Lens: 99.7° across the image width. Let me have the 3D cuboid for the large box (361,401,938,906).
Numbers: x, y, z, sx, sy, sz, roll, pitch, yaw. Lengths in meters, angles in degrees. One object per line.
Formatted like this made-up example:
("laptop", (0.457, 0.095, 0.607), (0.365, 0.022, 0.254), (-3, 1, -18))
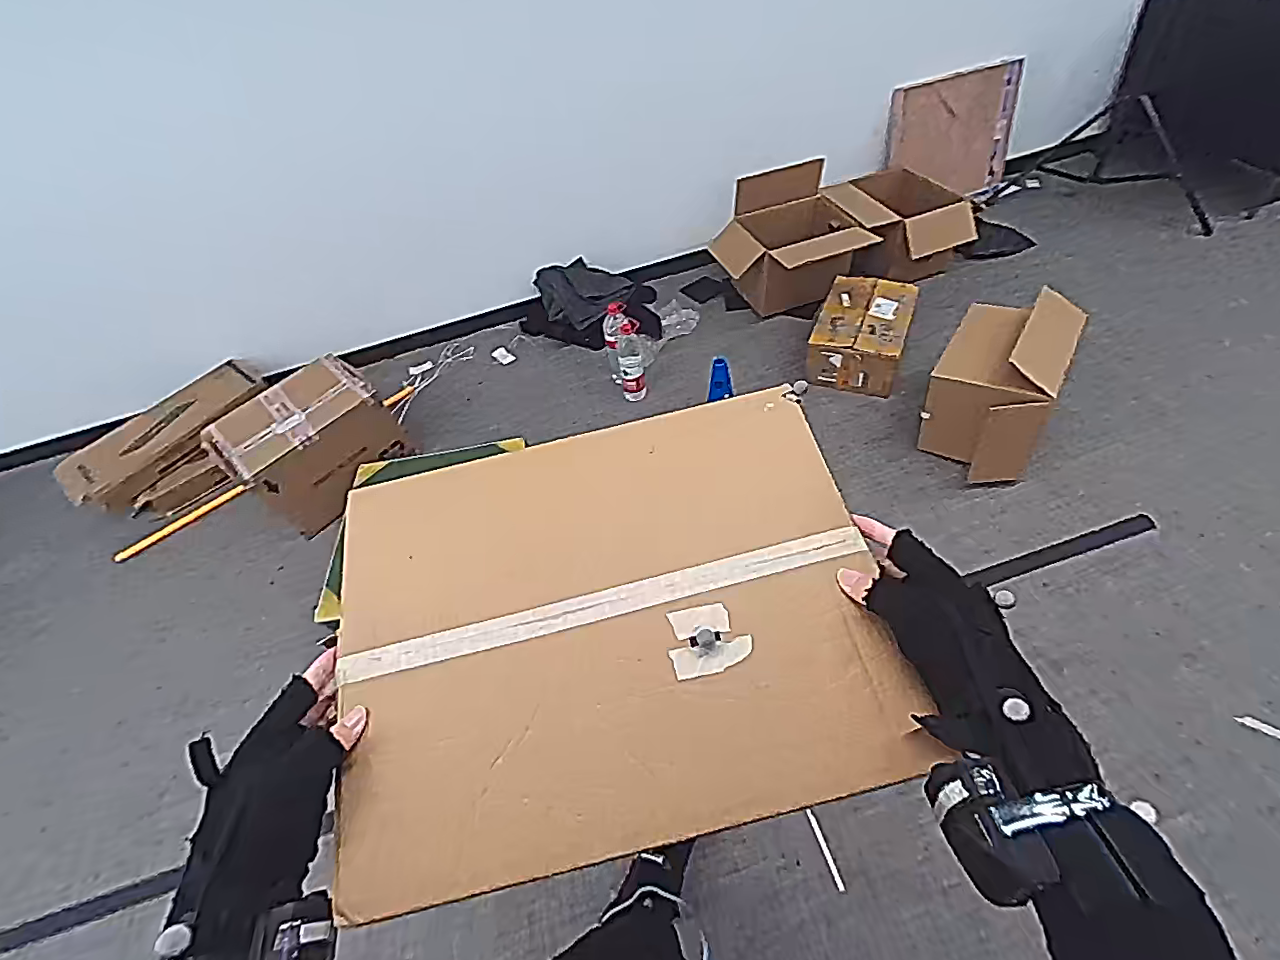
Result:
("large box", (-0.010, 0.173, 0.558), (0.408, 0.320, 0.320), (-14, 61, -1))
